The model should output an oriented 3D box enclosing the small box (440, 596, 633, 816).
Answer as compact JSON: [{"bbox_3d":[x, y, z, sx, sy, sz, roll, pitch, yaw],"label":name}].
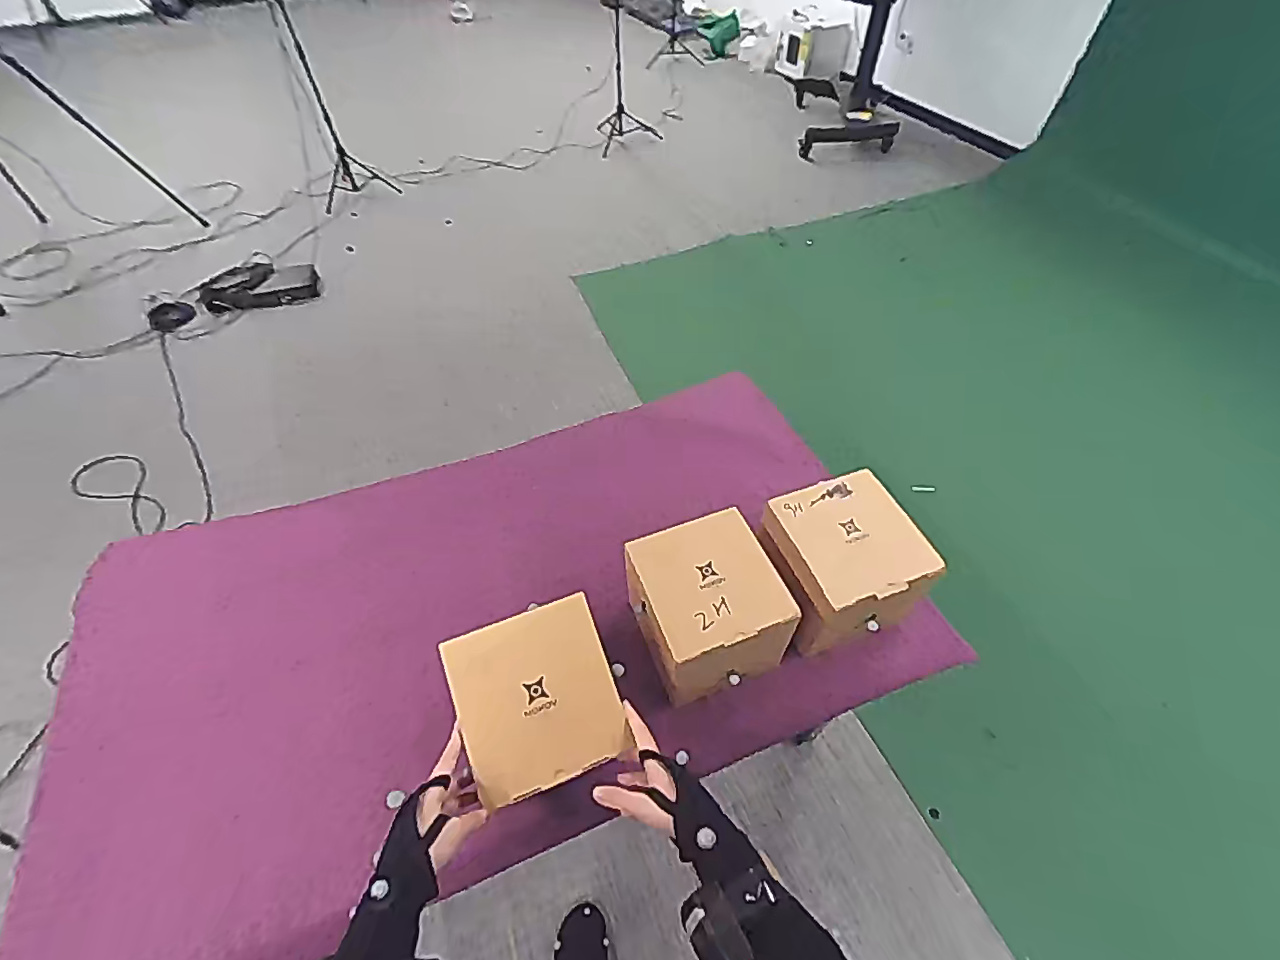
[{"bbox_3d":[-0.122,0.258,0.646,0.168,0.176,0.179,-18,75,-13],"label":"small box"}]
